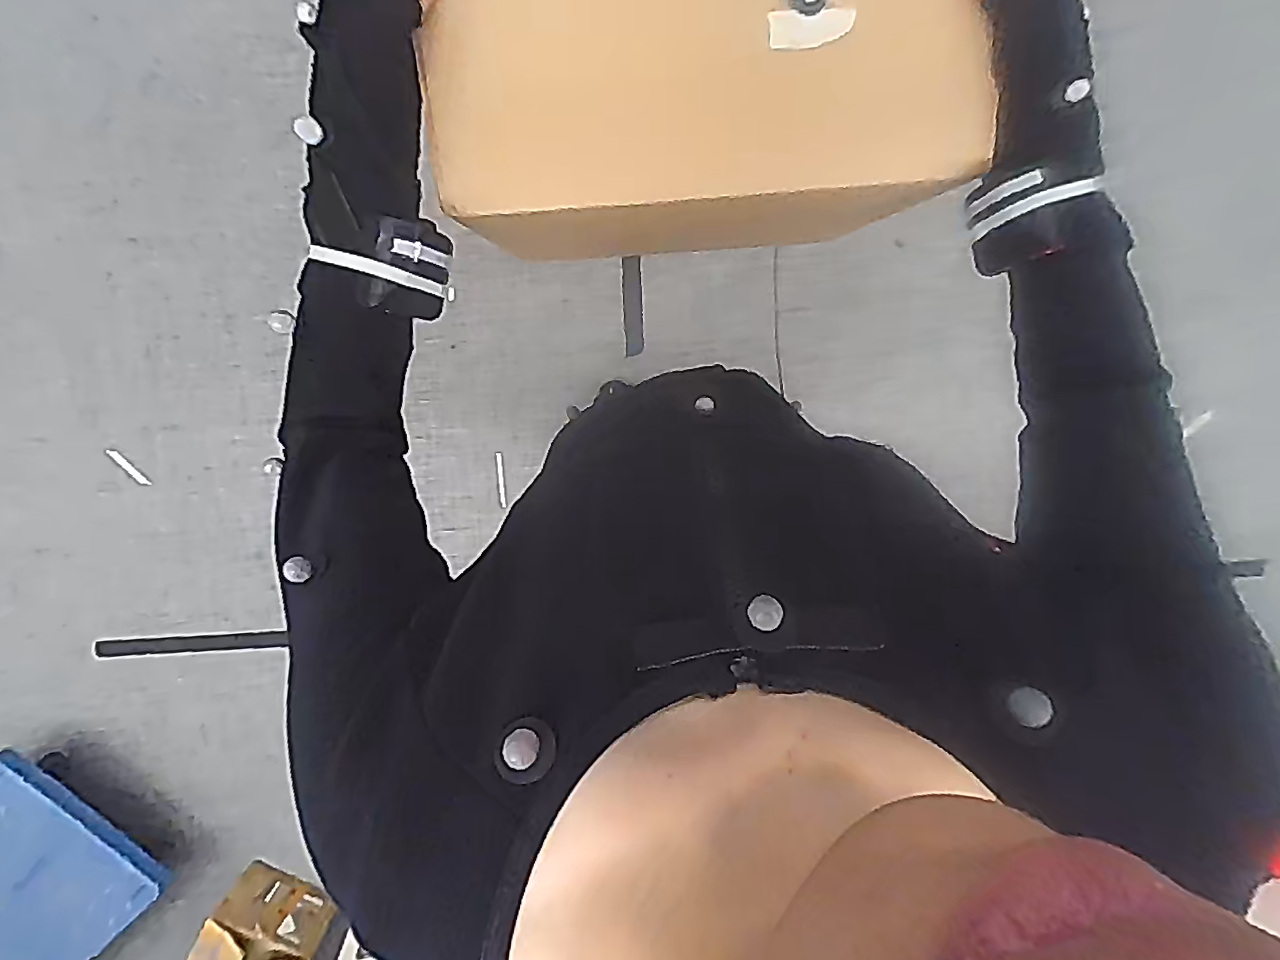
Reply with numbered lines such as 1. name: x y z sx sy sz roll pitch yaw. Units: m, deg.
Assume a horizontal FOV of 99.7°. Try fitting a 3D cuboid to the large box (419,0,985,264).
1. large box: 0.037 -0.404 0.512 0.408 0.320 0.320 -5 106 0
